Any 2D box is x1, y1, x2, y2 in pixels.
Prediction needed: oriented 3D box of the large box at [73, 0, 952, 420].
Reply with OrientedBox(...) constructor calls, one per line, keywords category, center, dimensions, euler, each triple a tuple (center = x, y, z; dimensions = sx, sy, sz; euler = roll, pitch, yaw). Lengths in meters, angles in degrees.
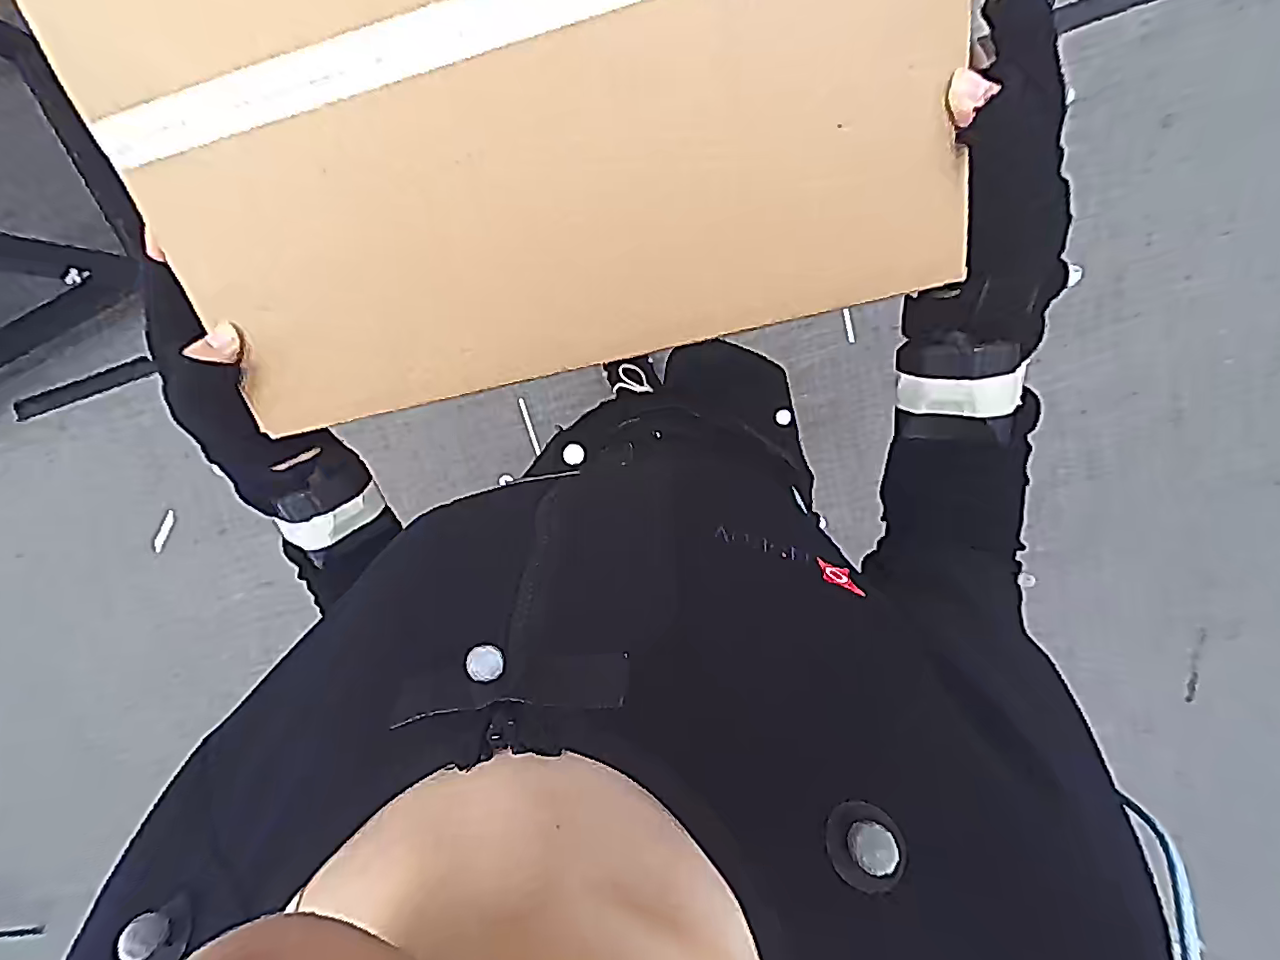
OrientedBox(category="large box", center=(-0.059, -0.272, 0.390), dimensions=(0.408, 0.320, 0.320), euler=(-11, 114, 8))
